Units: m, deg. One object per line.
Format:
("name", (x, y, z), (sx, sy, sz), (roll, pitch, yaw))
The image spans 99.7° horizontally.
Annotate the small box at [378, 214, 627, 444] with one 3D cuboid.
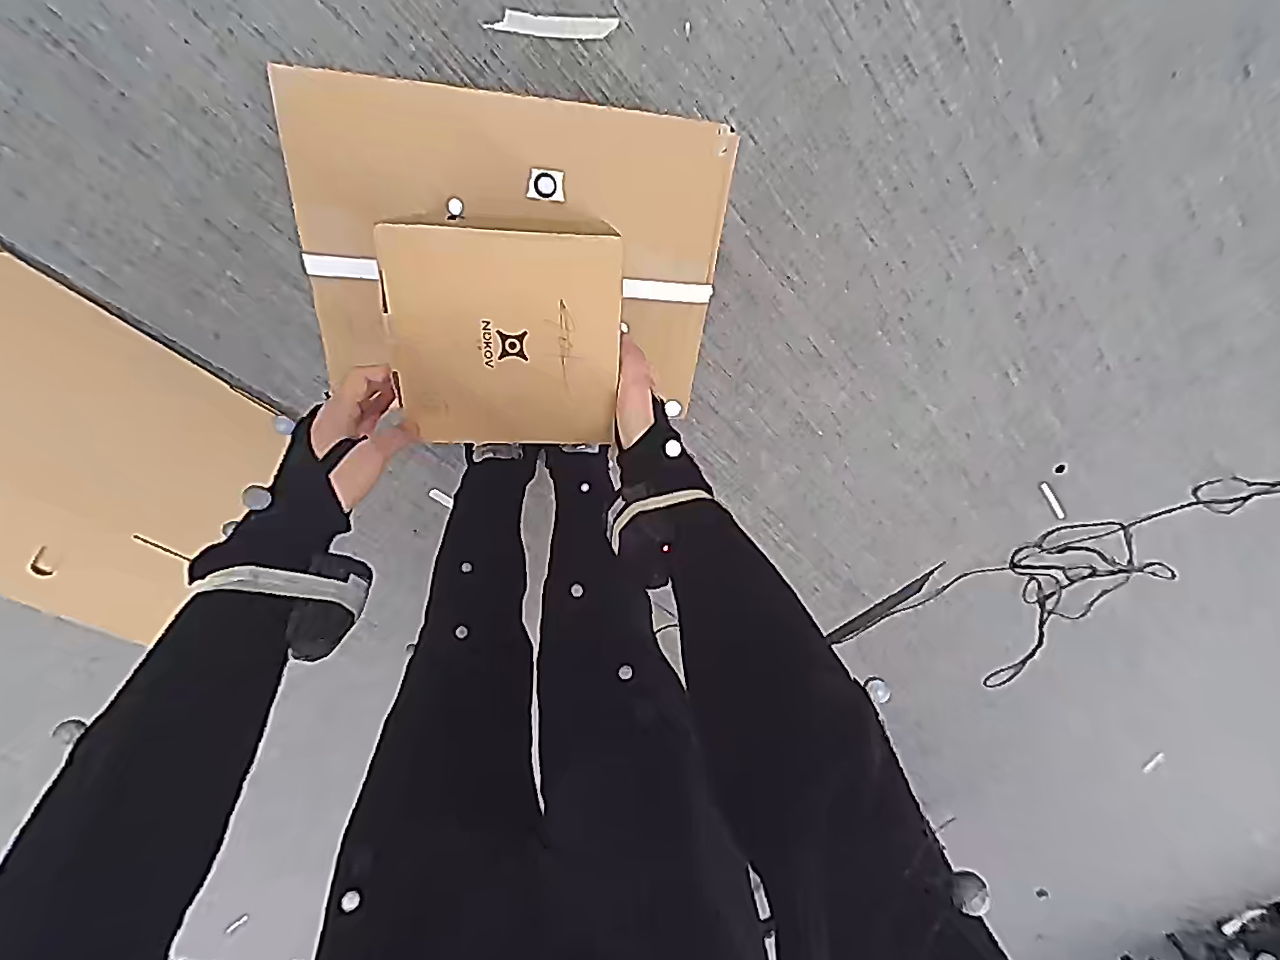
("small box", (-0.110, -0.142, 0.489), (0.179, 0.176, 0.168), (-2, 120, -8))
